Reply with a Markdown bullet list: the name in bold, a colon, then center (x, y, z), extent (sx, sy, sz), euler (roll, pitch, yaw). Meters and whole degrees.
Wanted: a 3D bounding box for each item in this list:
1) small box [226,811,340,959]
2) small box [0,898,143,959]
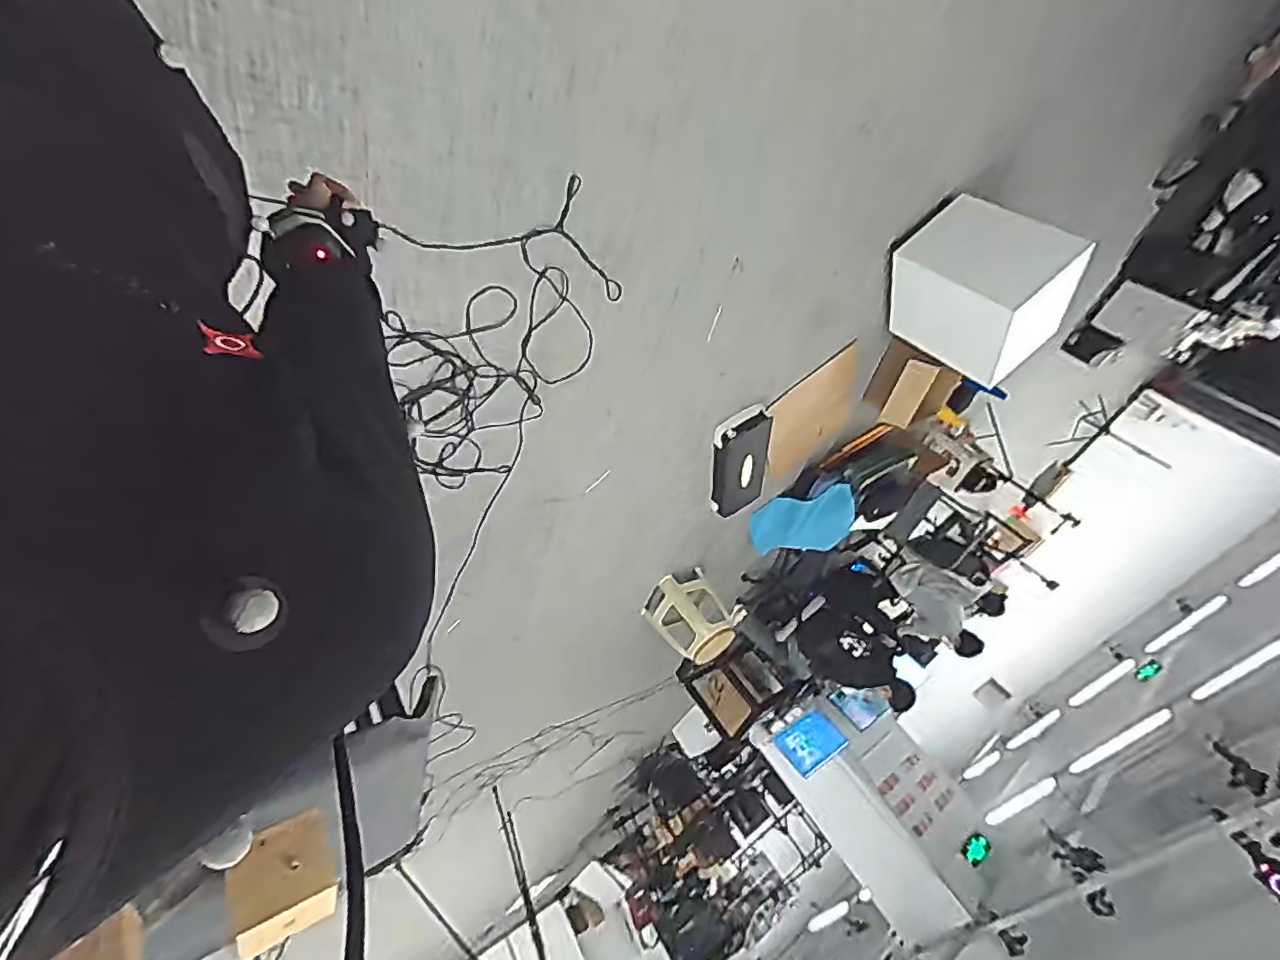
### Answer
- **small box**: center (-0.729, 0.821, 1.107), extent (0.168, 0.176, 0.179), euler (-10, 137, -39)
- **small box**: center (-0.960, 0.858, 0.911), extent (0.168, 0.176, 0.179), euler (-12, 136, -40)
